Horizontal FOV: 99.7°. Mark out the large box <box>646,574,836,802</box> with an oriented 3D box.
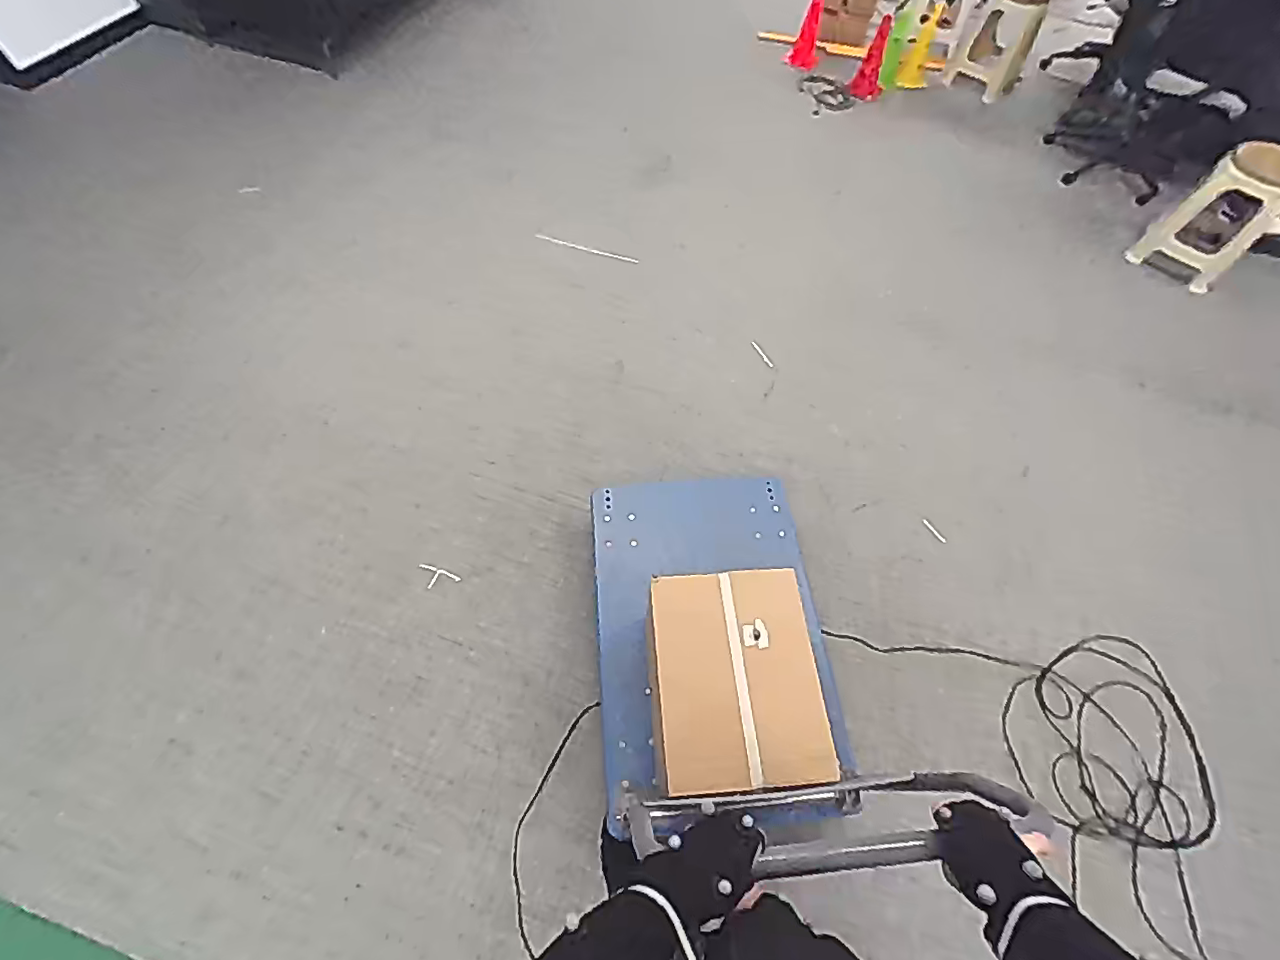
[{"bbox_3d":[0.184,0.461,1.192,0.320,0.320,0.408,-3,58,-4],"label":"large box"}]
